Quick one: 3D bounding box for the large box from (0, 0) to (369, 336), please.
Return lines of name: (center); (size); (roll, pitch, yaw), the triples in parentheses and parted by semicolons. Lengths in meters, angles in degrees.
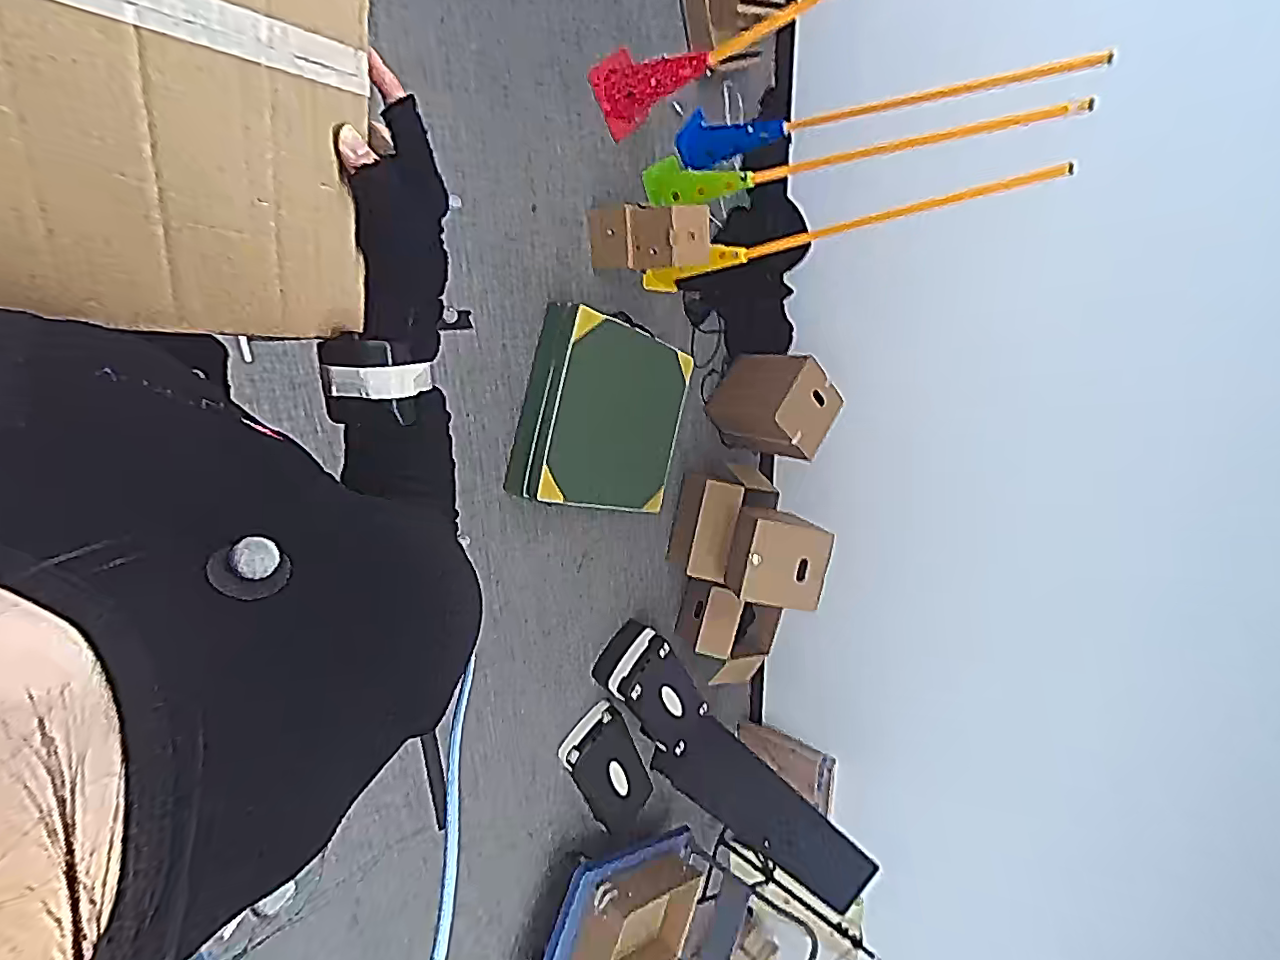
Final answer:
large box: (-0.408, -0.284, 0.298); (0.408, 0.320, 0.320); (-9, 127, -39)
